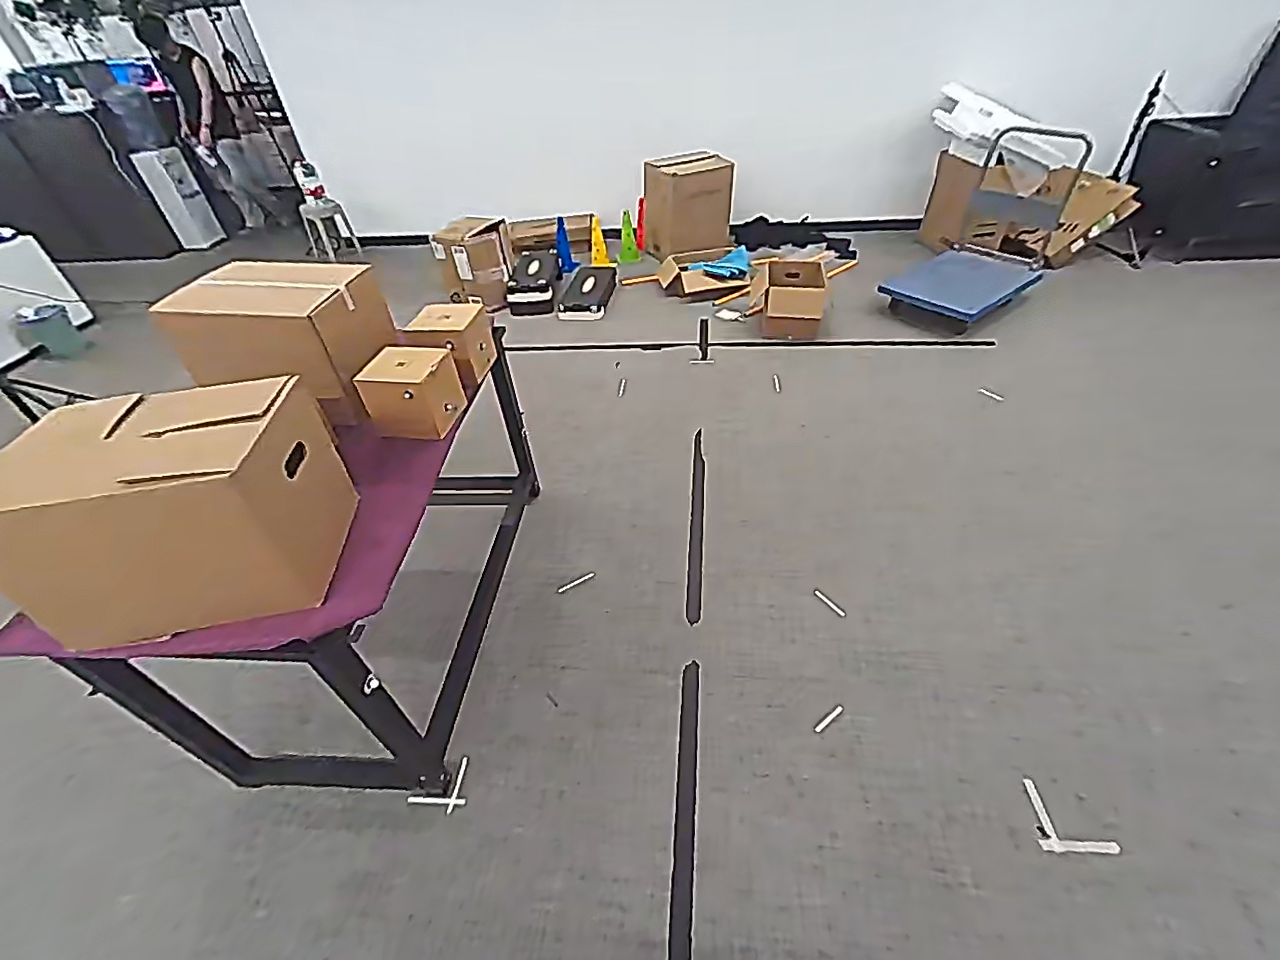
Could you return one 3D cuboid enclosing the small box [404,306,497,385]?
[{"bbox_3d":[-0.529,-0.381,1.540,0.179,0.176,0.168,1,41,9],"label":"small box"}]
